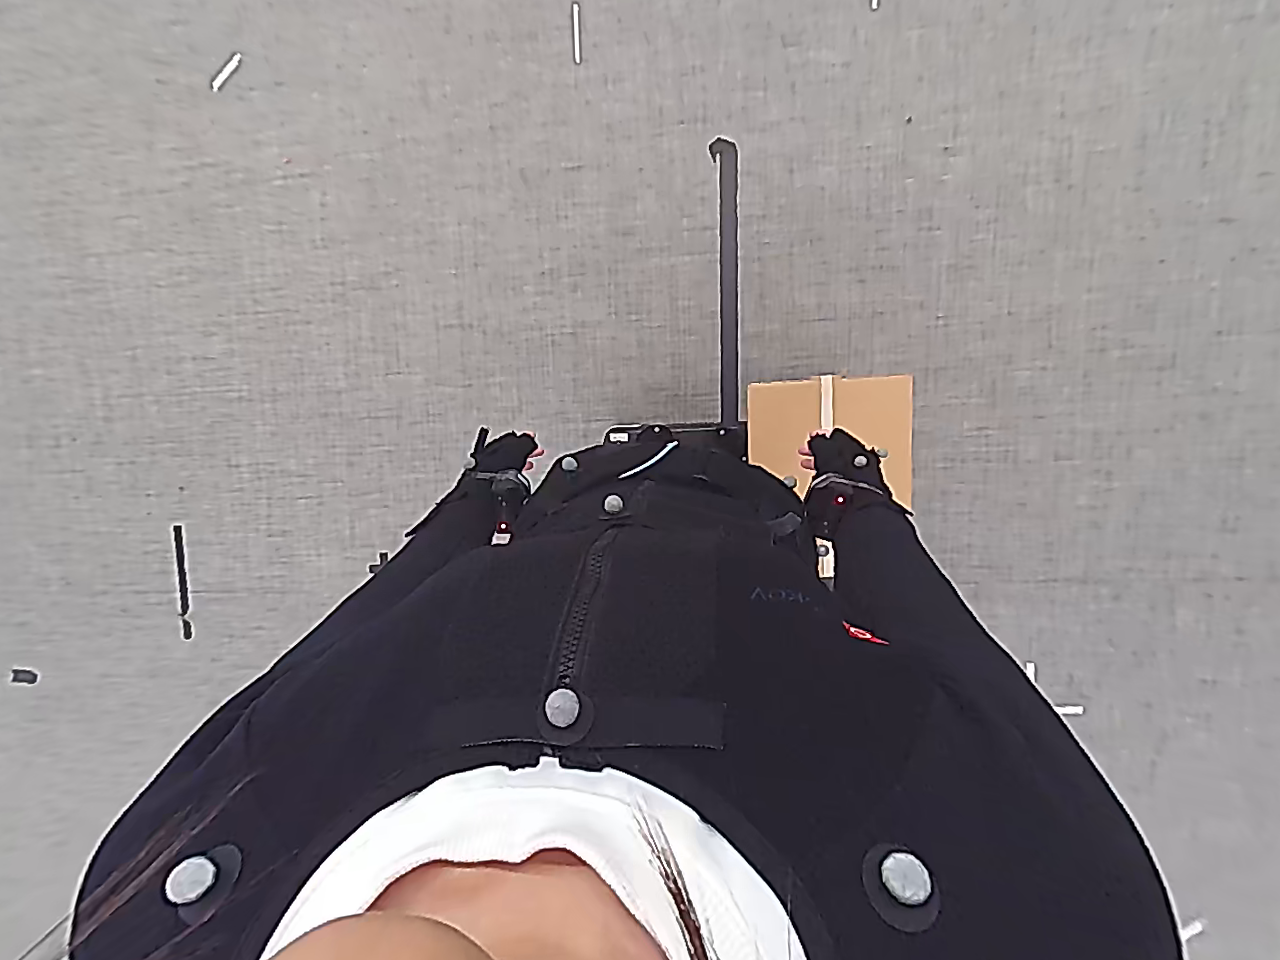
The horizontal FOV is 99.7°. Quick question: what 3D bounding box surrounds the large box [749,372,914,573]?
[{"bbox_3d":[0.418,-0.026,1.237,0.320,0.320,0.408,-1,98,14],"label":"large box"}]
